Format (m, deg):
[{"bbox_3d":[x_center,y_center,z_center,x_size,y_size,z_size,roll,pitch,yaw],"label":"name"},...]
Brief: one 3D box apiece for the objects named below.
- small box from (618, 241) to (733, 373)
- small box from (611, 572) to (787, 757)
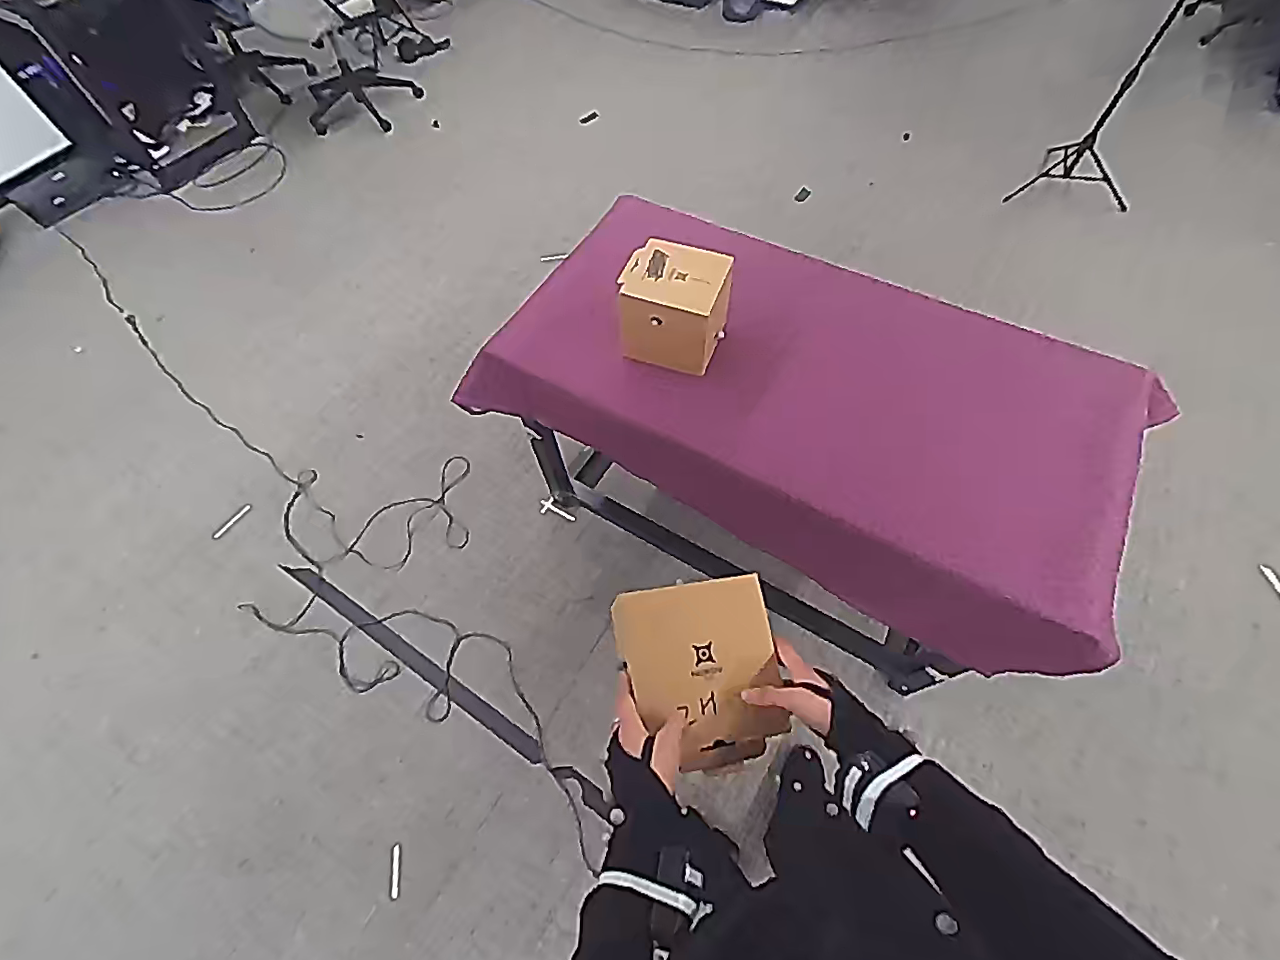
[{"bbox_3d":[0.071,-0.338,1.077,0.179,0.176,0.168,18,63,11],"label":"small box"},{"bbox_3d":[0.058,0.224,0.671,0.168,0.176,0.179,-7,73,-8],"label":"small box"}]
